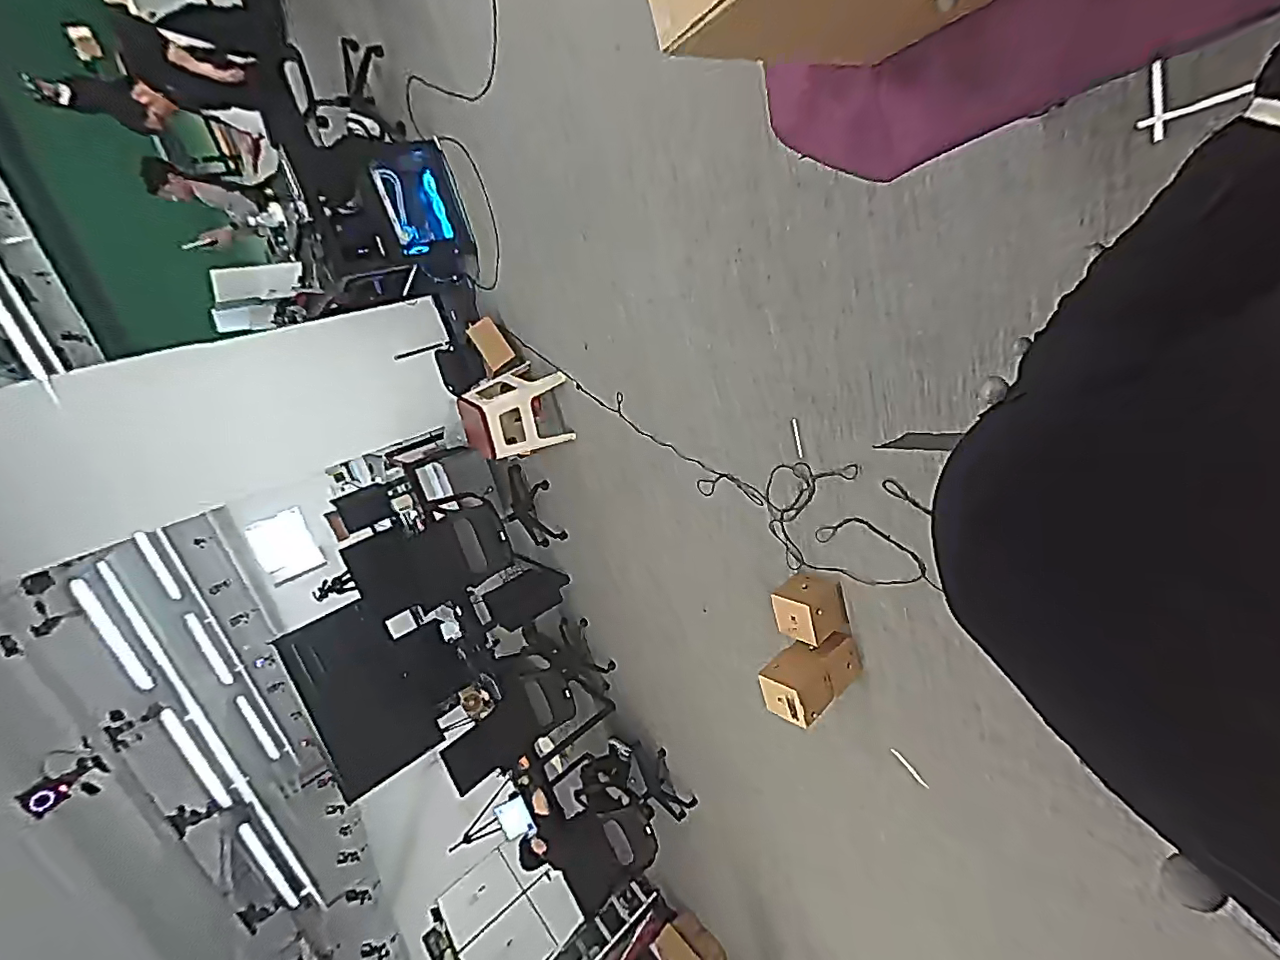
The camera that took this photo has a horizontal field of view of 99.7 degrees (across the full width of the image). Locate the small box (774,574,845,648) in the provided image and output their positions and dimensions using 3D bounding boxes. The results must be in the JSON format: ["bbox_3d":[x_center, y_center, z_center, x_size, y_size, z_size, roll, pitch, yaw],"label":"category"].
[{"bbox_3d":[0.612,0.465,1.948,0.168,0.176,0.179,10,122,53],"label":"small box"}]

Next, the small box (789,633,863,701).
[{"bbox_3d":[0.692,0.677,2.004,0.179,0.176,0.168,-3,111,56],"label":"small box"}]
